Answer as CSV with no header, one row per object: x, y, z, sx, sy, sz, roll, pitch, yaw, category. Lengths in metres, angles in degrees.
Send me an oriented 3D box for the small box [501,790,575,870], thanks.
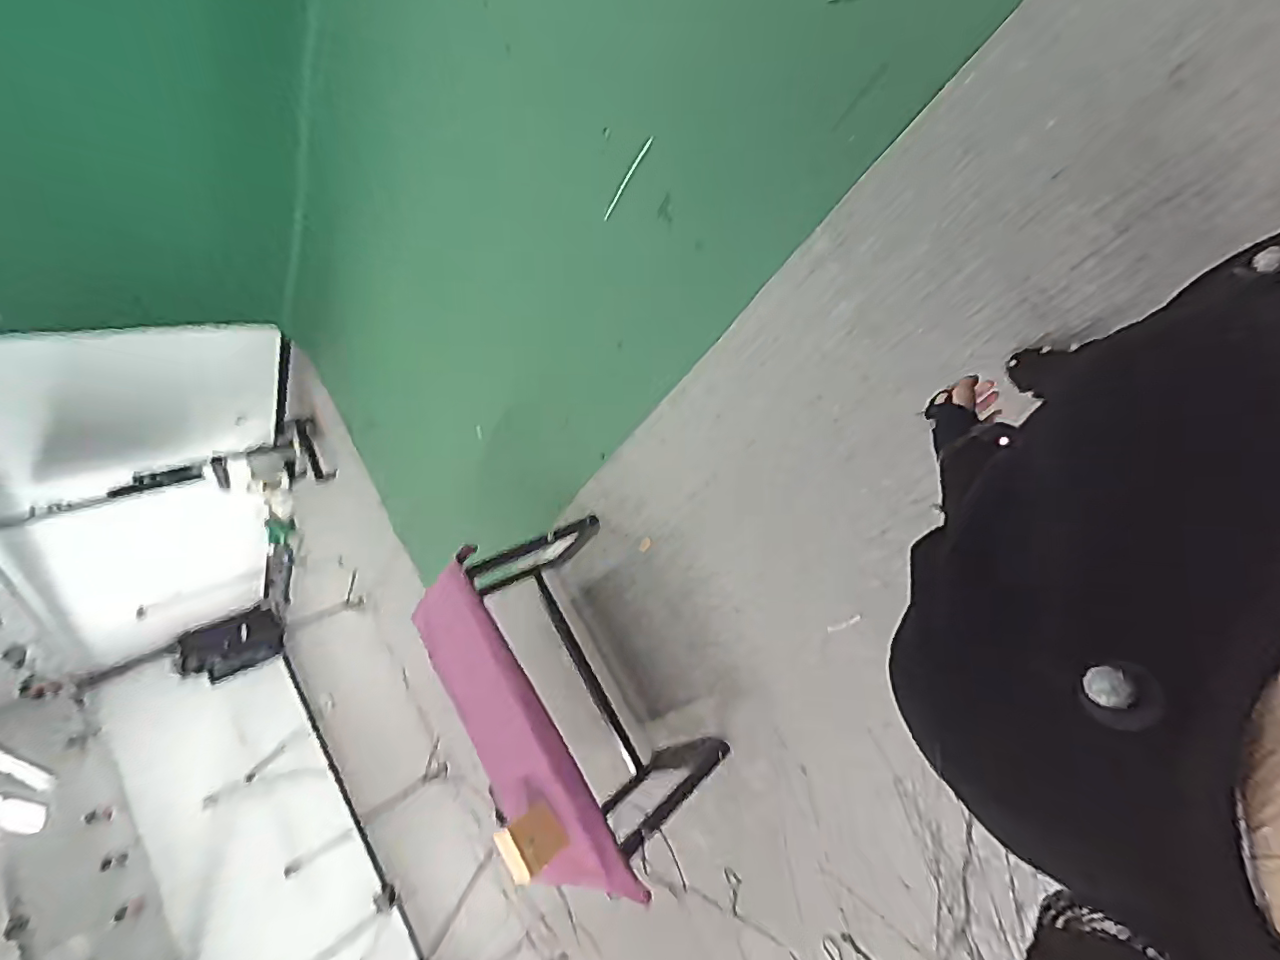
-0.361,1.244,1.925,0.179,0.176,0.168,56,135,14,small box
